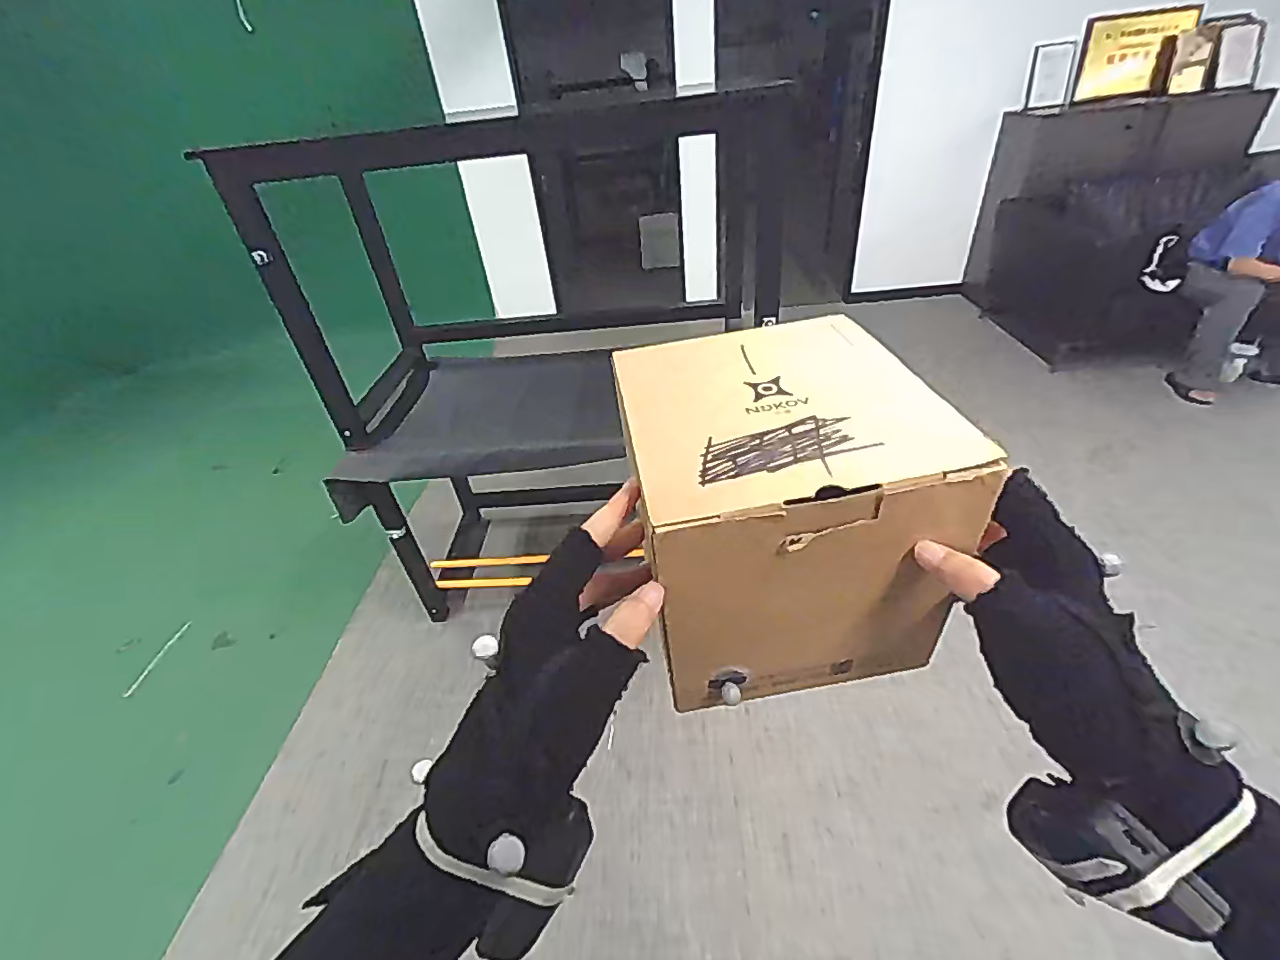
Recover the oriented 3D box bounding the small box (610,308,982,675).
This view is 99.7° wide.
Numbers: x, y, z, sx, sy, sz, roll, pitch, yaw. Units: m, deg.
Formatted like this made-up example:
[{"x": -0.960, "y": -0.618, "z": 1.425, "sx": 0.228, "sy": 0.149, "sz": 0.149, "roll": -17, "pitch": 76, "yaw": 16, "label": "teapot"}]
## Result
[{"x": 0.078, "y": 0.009, "z": 0.360, "sx": 0.168, "sy": 0.176, "sz": 0.179, "roll": -9, "pitch": 38, "yaw": -2, "label": "small box"}]
